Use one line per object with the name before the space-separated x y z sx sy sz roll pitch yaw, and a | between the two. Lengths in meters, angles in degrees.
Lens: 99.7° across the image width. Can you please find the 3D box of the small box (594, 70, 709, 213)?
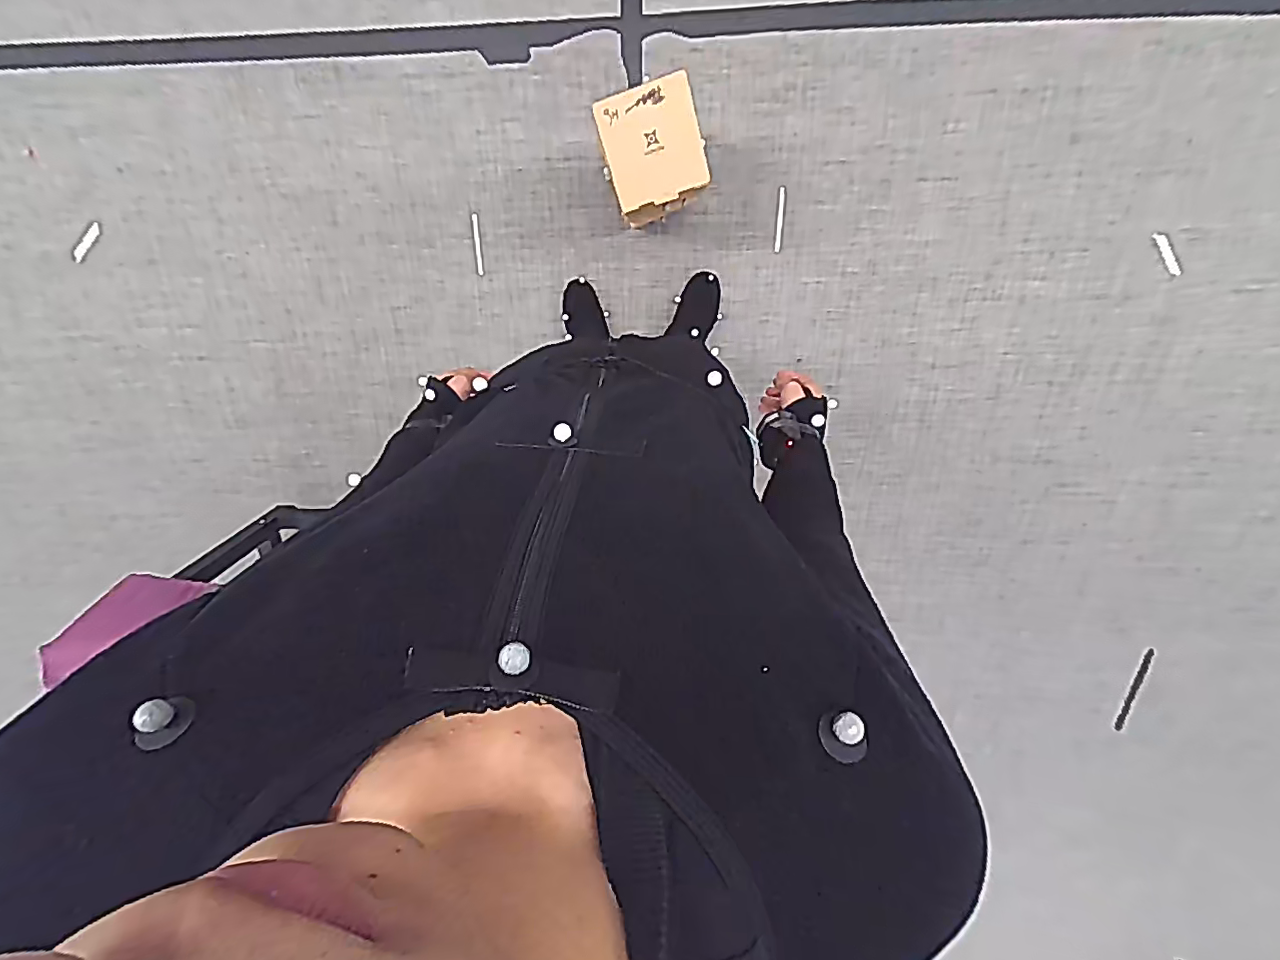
small box | 0.025 -0.611 1.000 0.168 0.176 0.179 -15 113 8
